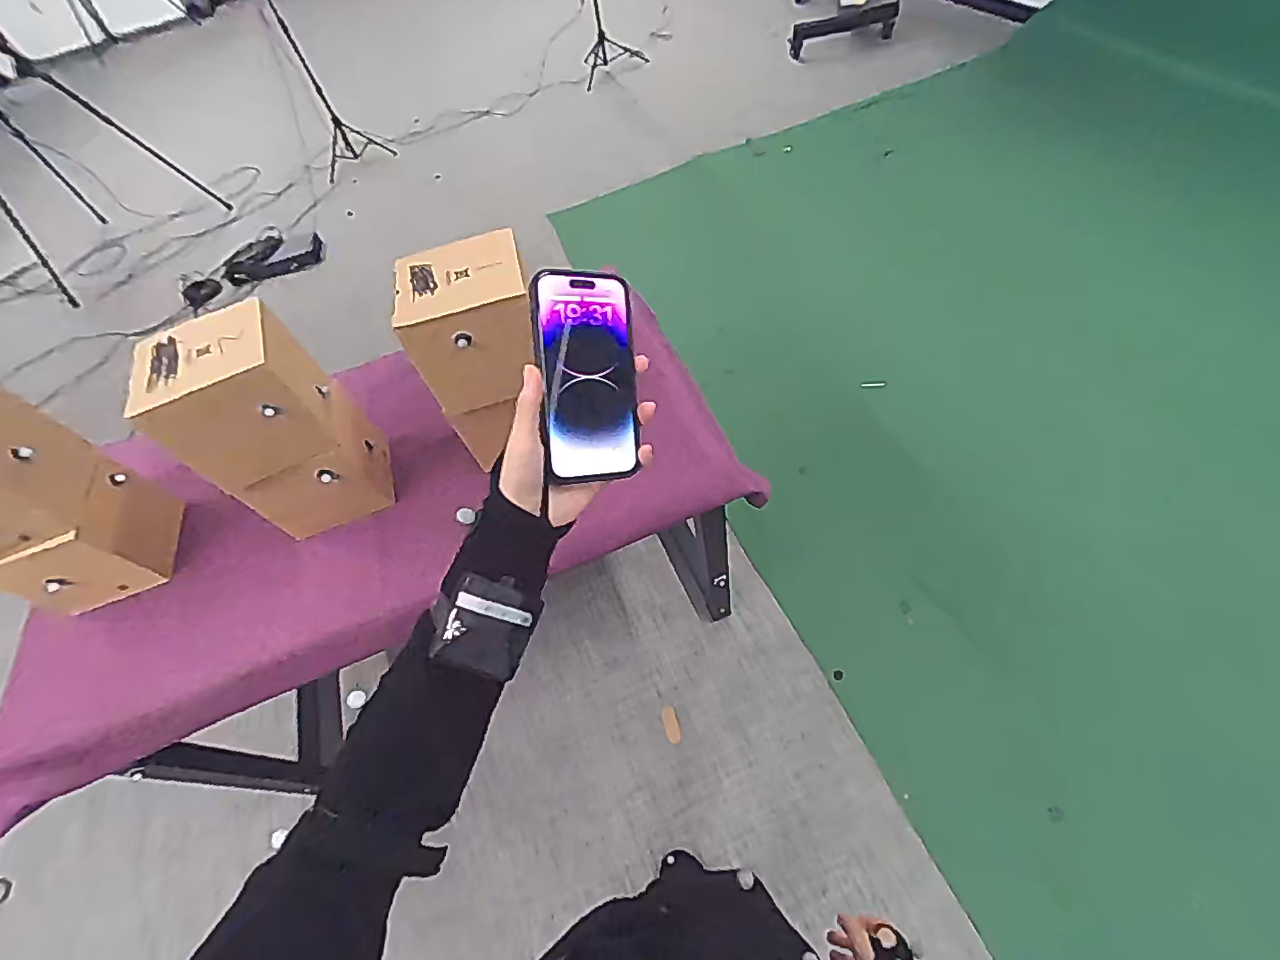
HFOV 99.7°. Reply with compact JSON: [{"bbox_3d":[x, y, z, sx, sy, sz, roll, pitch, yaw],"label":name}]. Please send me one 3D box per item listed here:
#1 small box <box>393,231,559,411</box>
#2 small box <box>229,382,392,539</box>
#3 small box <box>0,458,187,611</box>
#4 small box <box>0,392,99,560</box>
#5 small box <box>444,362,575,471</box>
[{"bbox_3d":[-0.233,-0.225,0.791,0.179,0.176,0.168,-16,54,-1],"label":"small box"},{"bbox_3d":[-0.541,-0.028,0.915,0.179,0.176,0.168,-22,54,-4],"label":"small box"},{"bbox_3d":[-0.909,0.100,0.901,0.168,0.176,0.179,-21,55,-4],"label":"small box"},{"bbox_3d":[-0.939,0.002,0.772,0.168,0.176,0.179,-25,55,-7],"label":"small box"},{"bbox_3d":[-0.219,-0.142,0.932,0.179,0.176,0.168,-17,54,0],"label":"small box"}]
